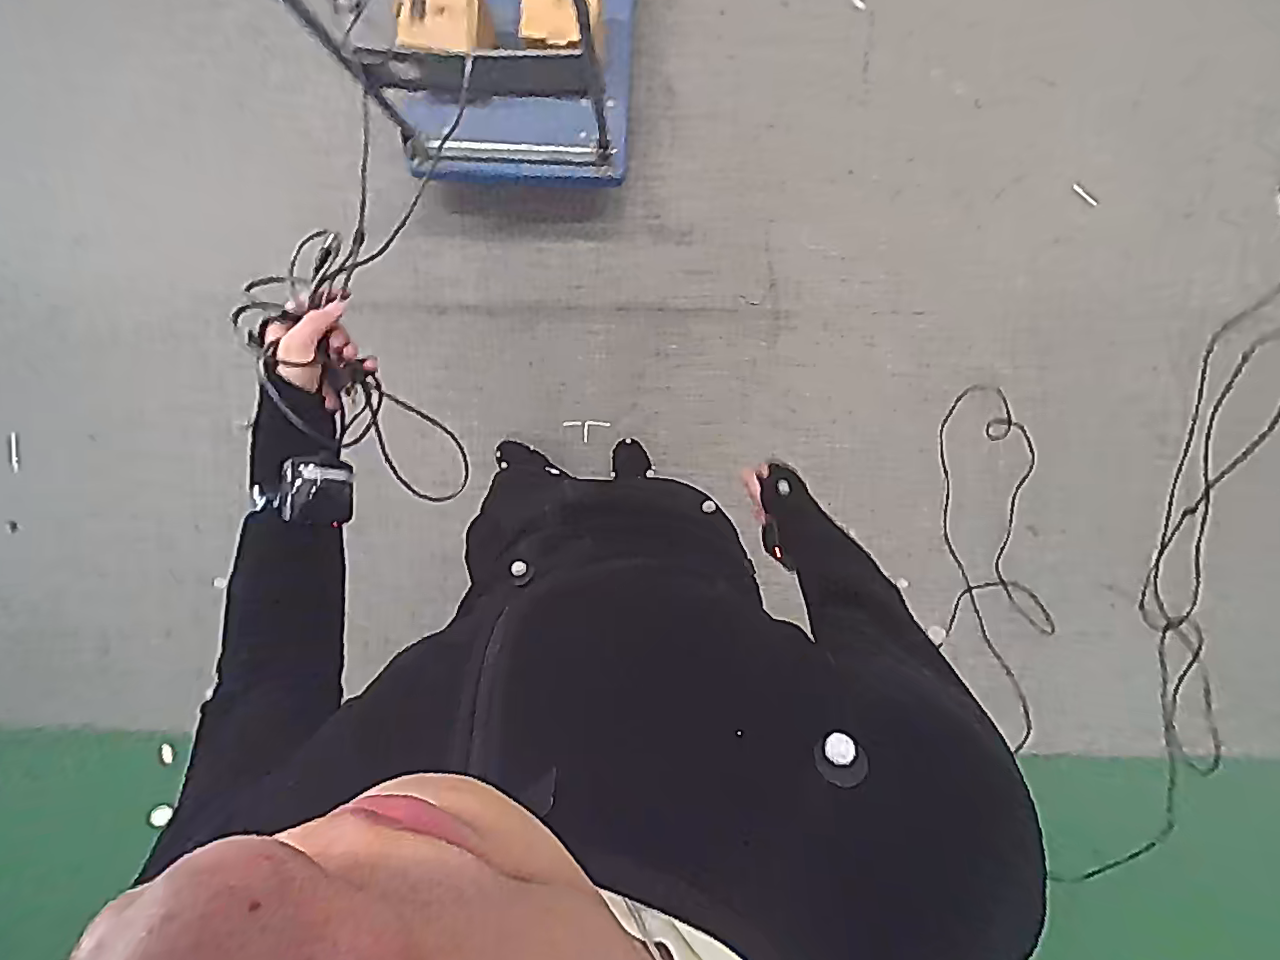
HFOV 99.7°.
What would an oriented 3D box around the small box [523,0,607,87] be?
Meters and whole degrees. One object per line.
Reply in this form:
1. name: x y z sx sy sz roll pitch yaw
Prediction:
1. small box: -0.169 -1.070 1.265 0.168 0.176 0.179 5 97 1
